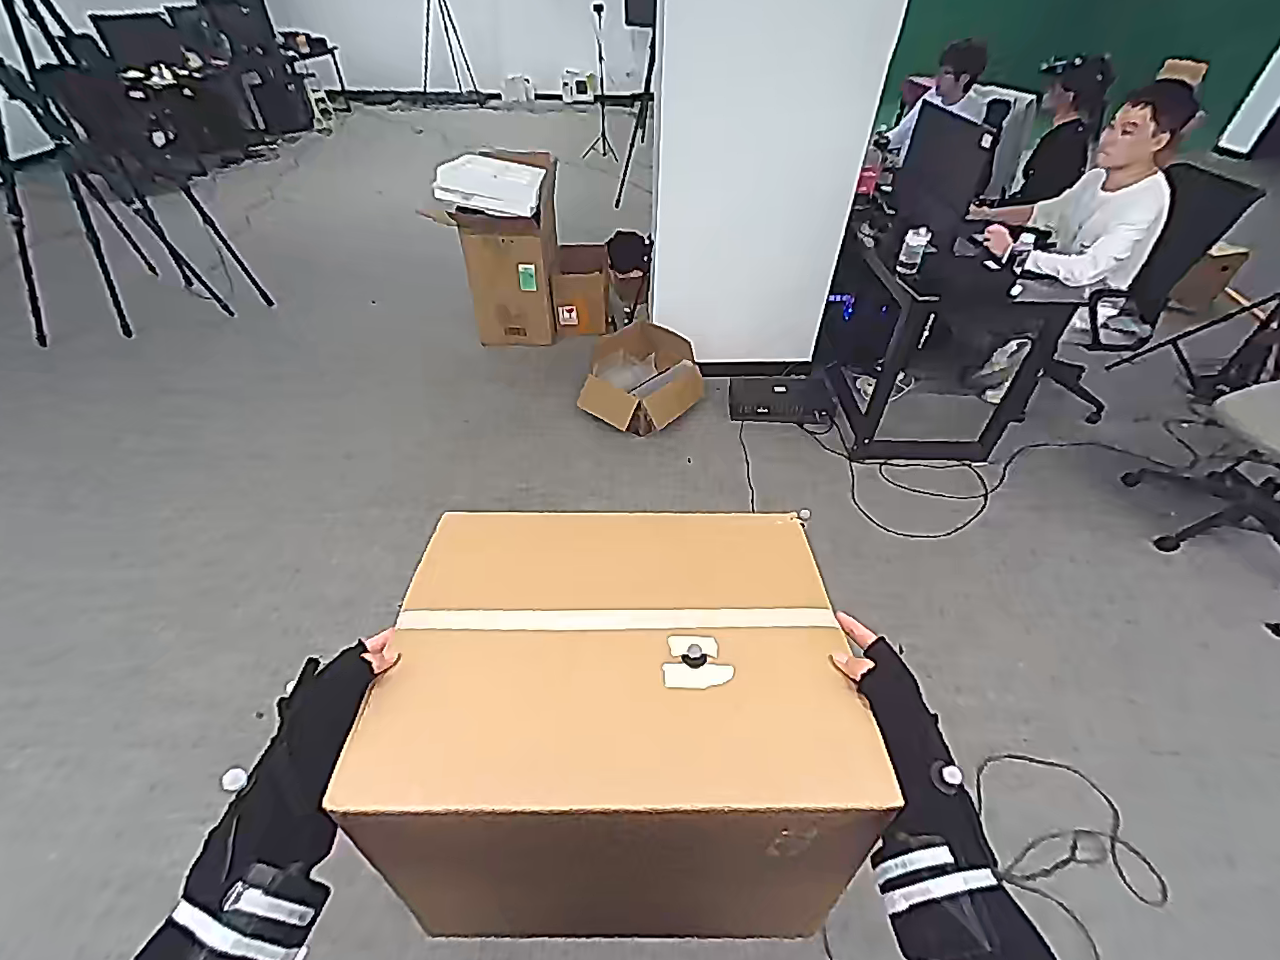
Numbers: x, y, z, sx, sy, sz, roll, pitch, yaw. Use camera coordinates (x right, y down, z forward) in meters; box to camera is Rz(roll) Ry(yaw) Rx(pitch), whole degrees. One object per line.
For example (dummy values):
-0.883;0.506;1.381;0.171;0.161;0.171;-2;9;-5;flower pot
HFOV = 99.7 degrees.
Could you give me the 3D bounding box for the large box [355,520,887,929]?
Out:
-0.017;0.258;0.603;0.408;0.320;0.320;0;37;-1;large box
